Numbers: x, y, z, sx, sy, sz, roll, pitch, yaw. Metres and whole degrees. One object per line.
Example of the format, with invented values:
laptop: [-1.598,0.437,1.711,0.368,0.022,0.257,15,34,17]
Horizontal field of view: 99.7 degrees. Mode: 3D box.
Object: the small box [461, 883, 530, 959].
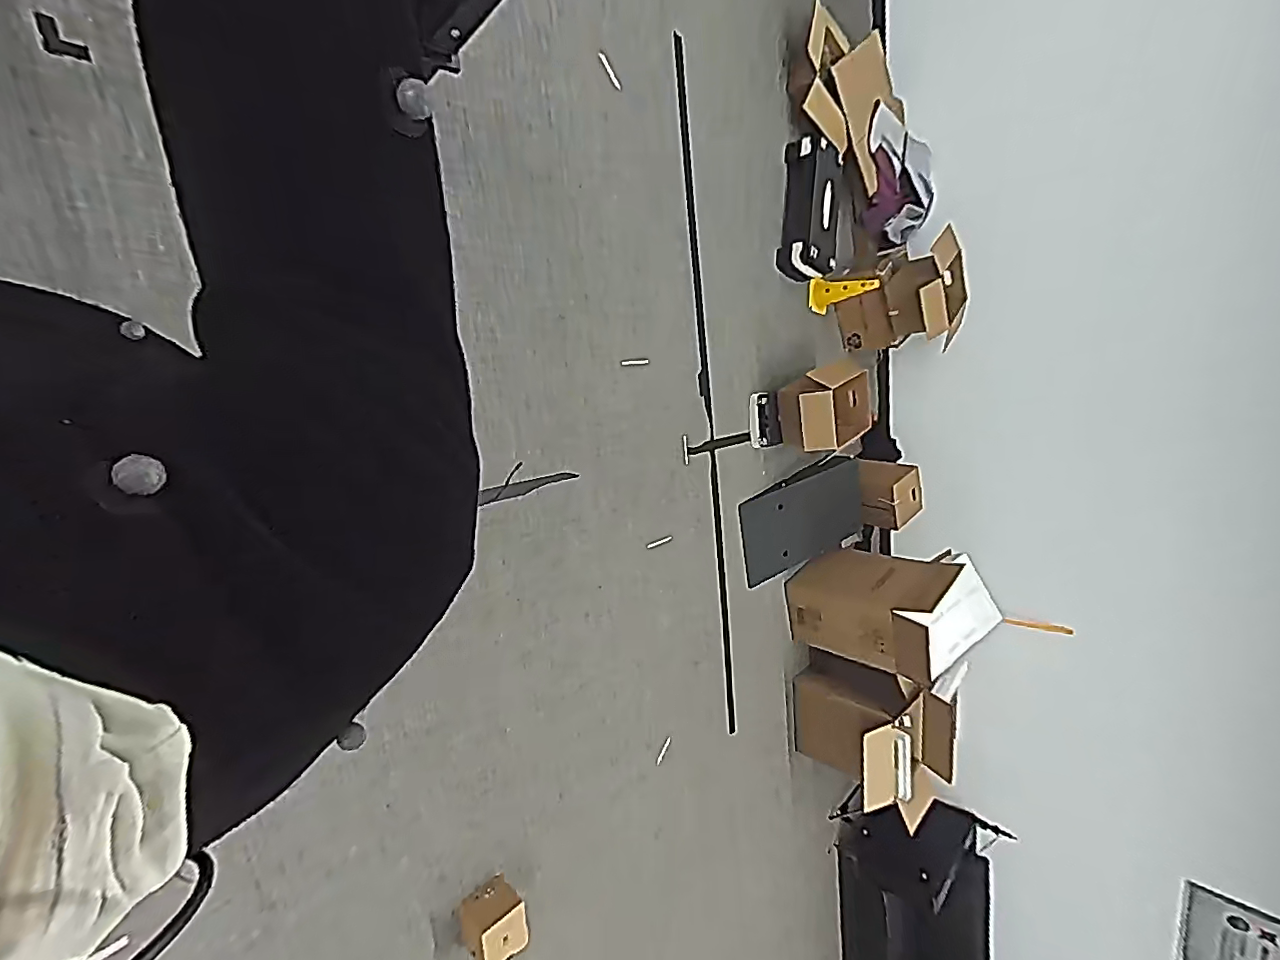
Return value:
small box: [-0.499,1.556,1.864,0.168,0.176,0.179,-13,103,-44]
